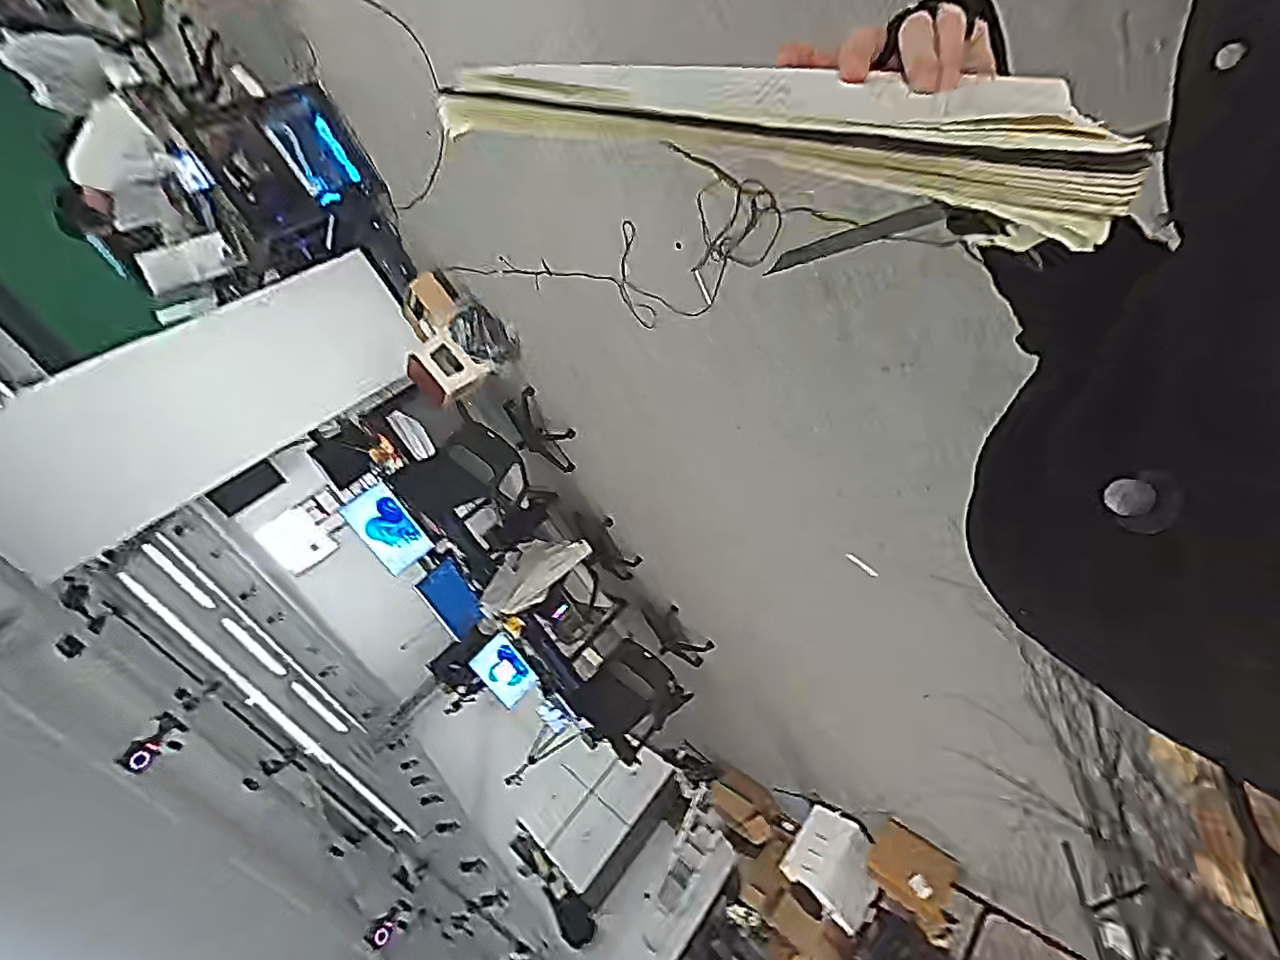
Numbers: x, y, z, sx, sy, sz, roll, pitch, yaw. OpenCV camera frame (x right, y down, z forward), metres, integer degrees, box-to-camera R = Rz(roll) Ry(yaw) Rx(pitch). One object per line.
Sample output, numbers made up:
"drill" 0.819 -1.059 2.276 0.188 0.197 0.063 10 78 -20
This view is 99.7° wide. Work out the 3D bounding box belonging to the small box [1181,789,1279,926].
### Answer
"small box" 1.329 0.820 1.187 0.179 0.176 0.168 7 134 49
